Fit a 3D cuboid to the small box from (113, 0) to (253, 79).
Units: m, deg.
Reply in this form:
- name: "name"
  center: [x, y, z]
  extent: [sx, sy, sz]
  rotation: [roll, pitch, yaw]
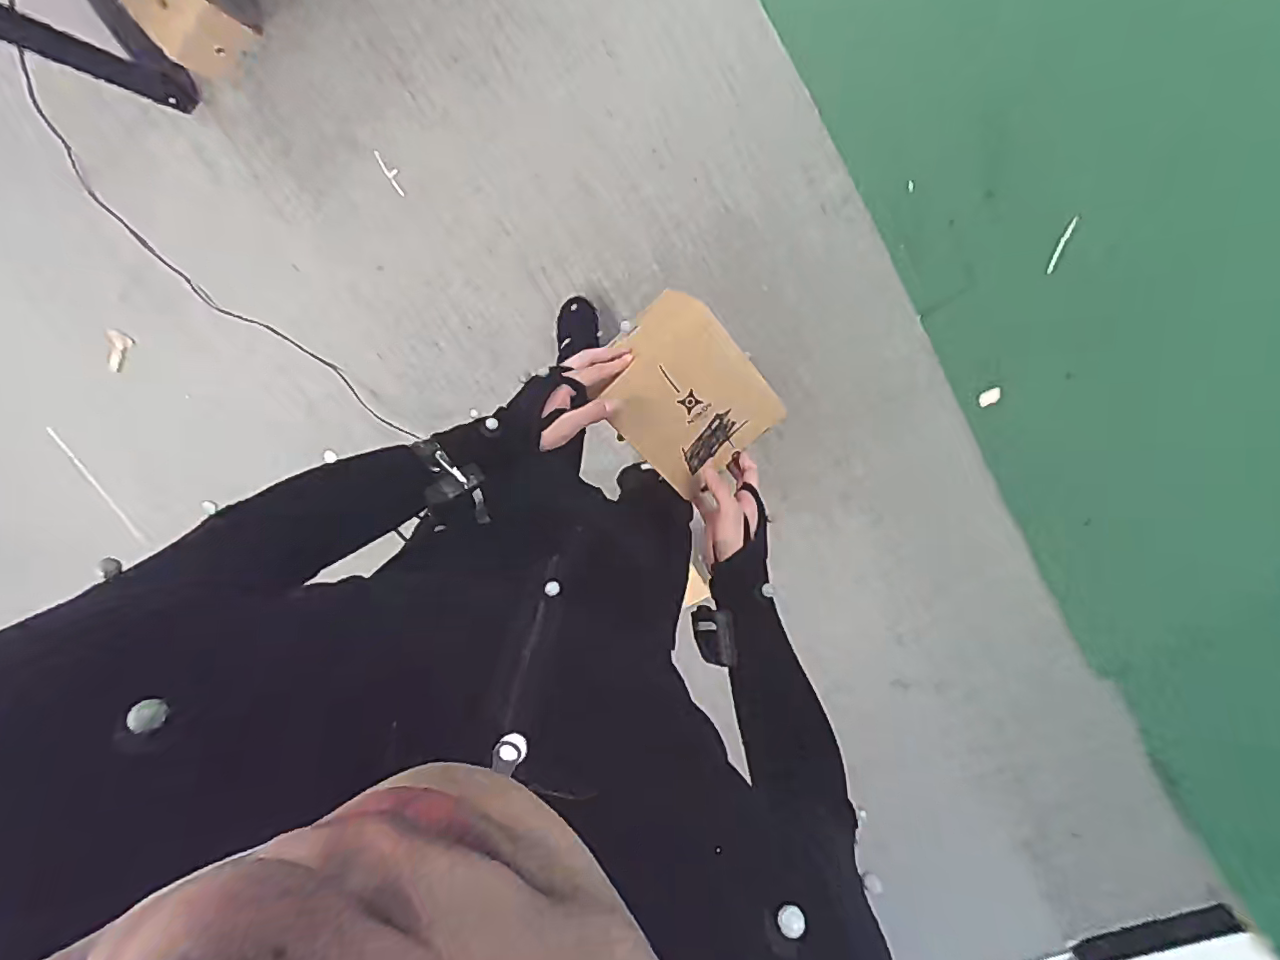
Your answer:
- name: "small box"
  center: [-1.111, -1.134, 1.327]
  extent: [0.168, 0.176, 0.179]
  rotation: [-39, 97, 15]
